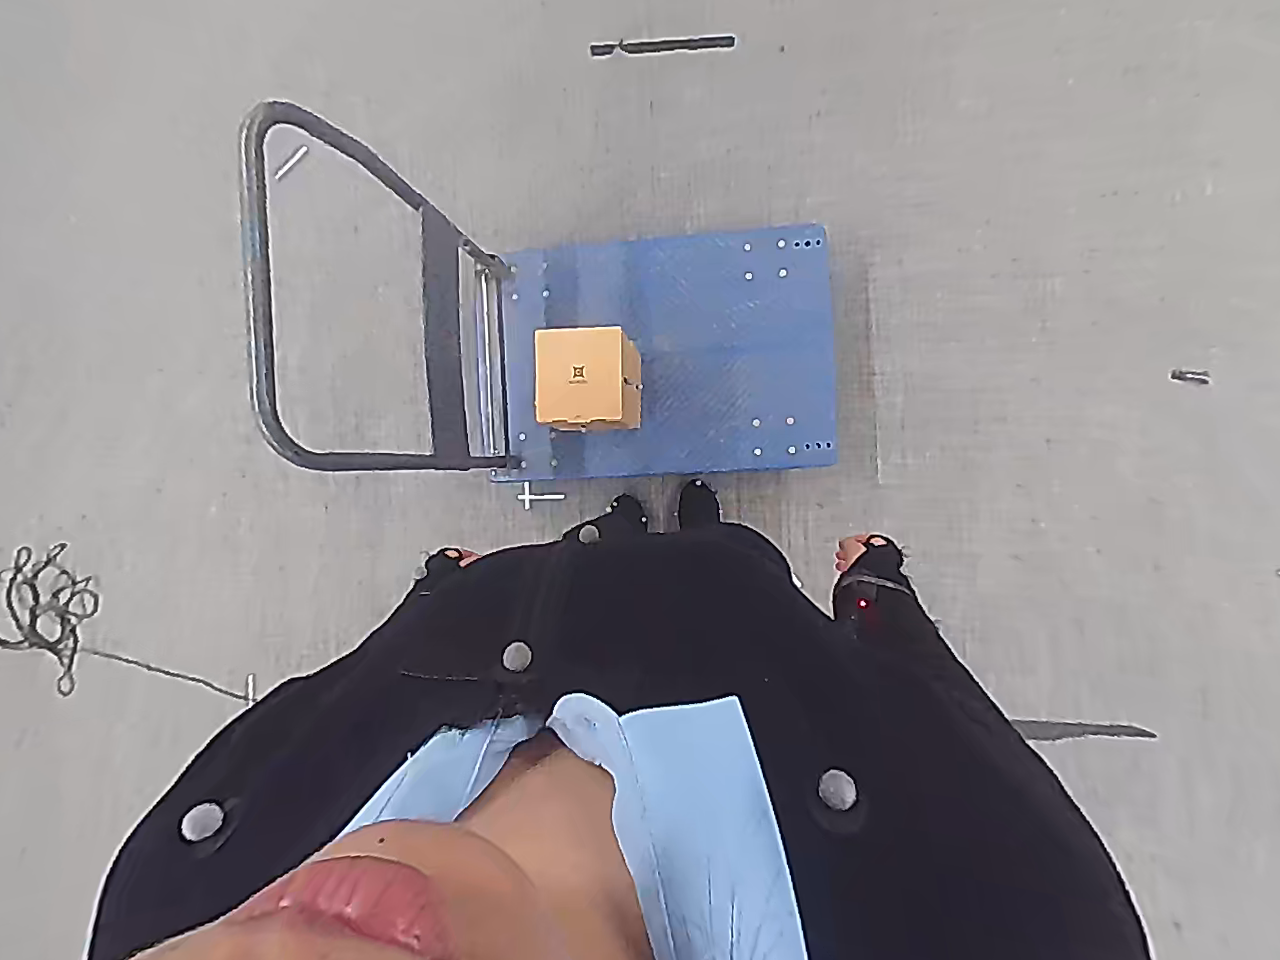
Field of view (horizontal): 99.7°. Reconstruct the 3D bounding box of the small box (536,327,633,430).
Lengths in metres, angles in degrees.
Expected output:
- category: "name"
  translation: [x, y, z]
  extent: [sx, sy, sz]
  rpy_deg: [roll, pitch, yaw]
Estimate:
- category: "small box"
  translation: [-0.106, -0.195, 1.078]
  extent: [0.168, 0.176, 0.179]
  rpy_deg: [-1, 91, 6]
